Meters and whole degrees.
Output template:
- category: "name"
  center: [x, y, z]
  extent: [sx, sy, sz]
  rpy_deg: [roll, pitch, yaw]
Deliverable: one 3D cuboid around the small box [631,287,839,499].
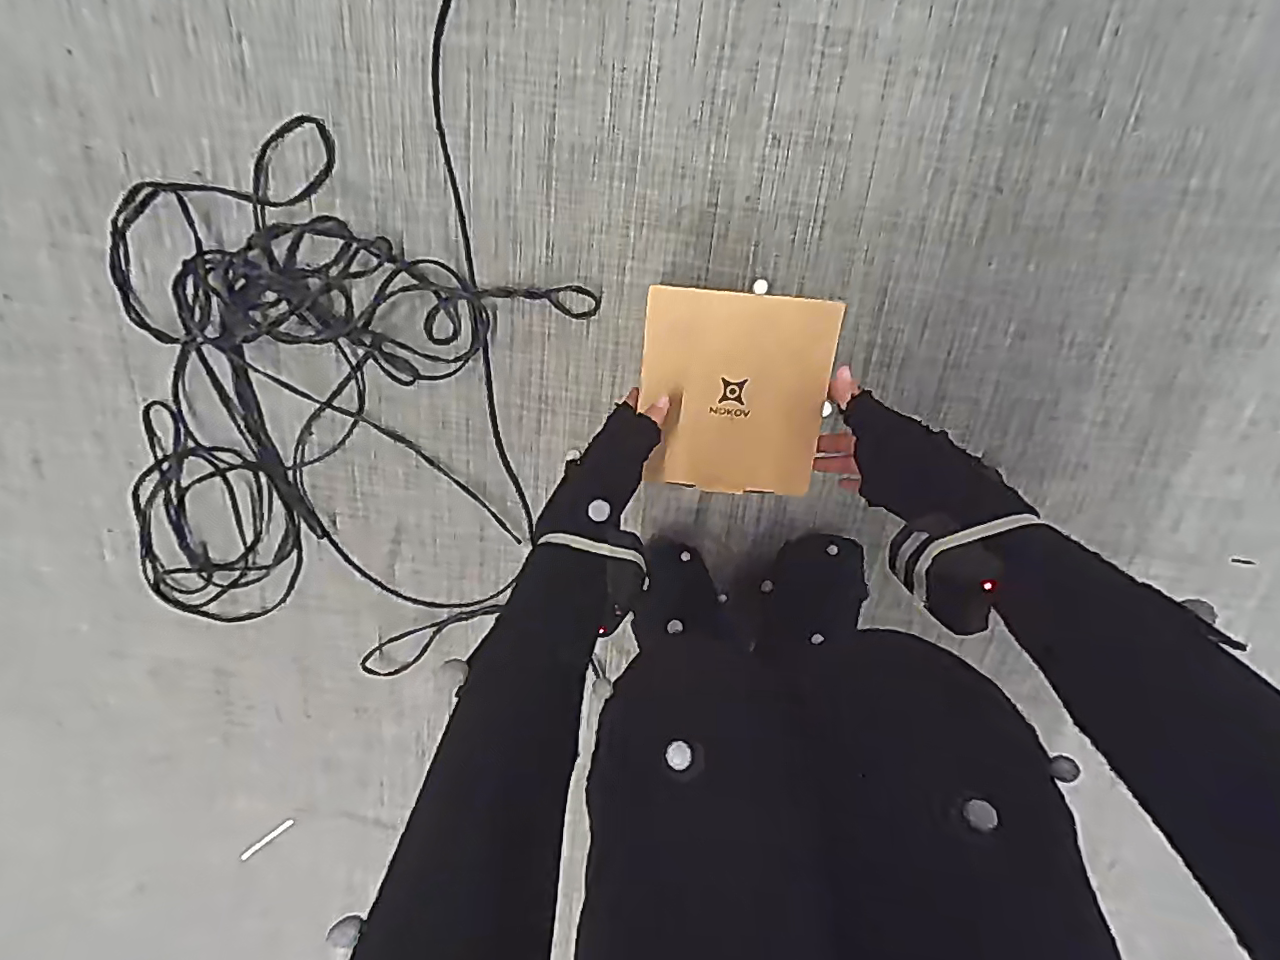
- category: "small box"
  center: [0.083, -0.097, 0.553]
  extent: [0.168, 0.176, 0.179]
  rpy_deg: [6, 109, 2]
